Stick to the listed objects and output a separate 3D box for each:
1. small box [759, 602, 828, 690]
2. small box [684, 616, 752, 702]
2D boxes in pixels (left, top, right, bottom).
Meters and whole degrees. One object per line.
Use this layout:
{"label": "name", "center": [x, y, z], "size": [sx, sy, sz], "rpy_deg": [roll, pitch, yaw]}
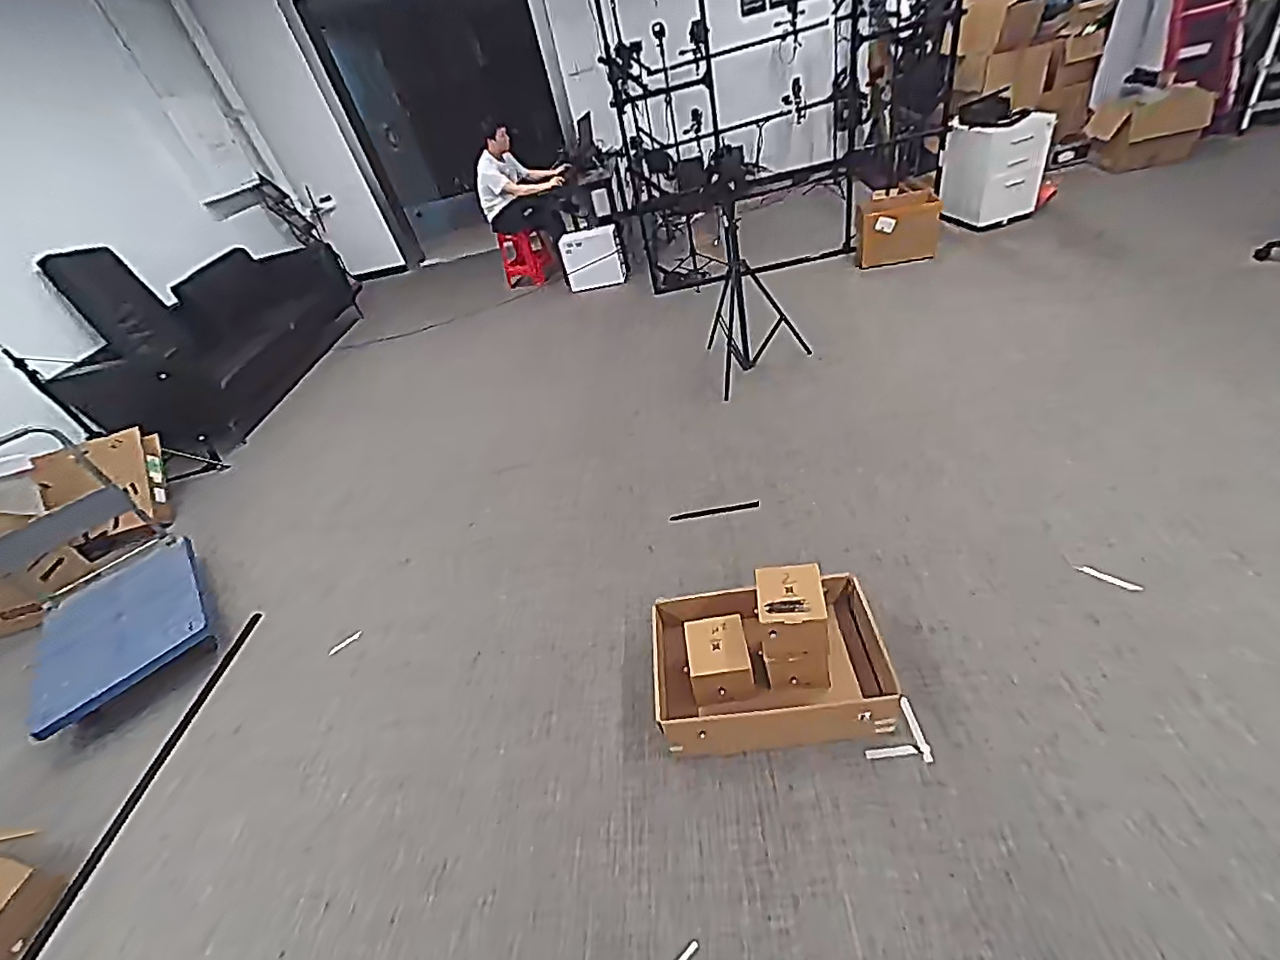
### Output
{"label": "small box", "center": [0.435, 0.473, 1.536], "size": [0.168, 0.176, 0.179], "rpy_deg": [-8, 40, 12]}
{"label": "small box", "center": [0.224, 0.518, 1.547], "size": [0.168, 0.176, 0.179], "rpy_deg": [-9, 39, 4]}
